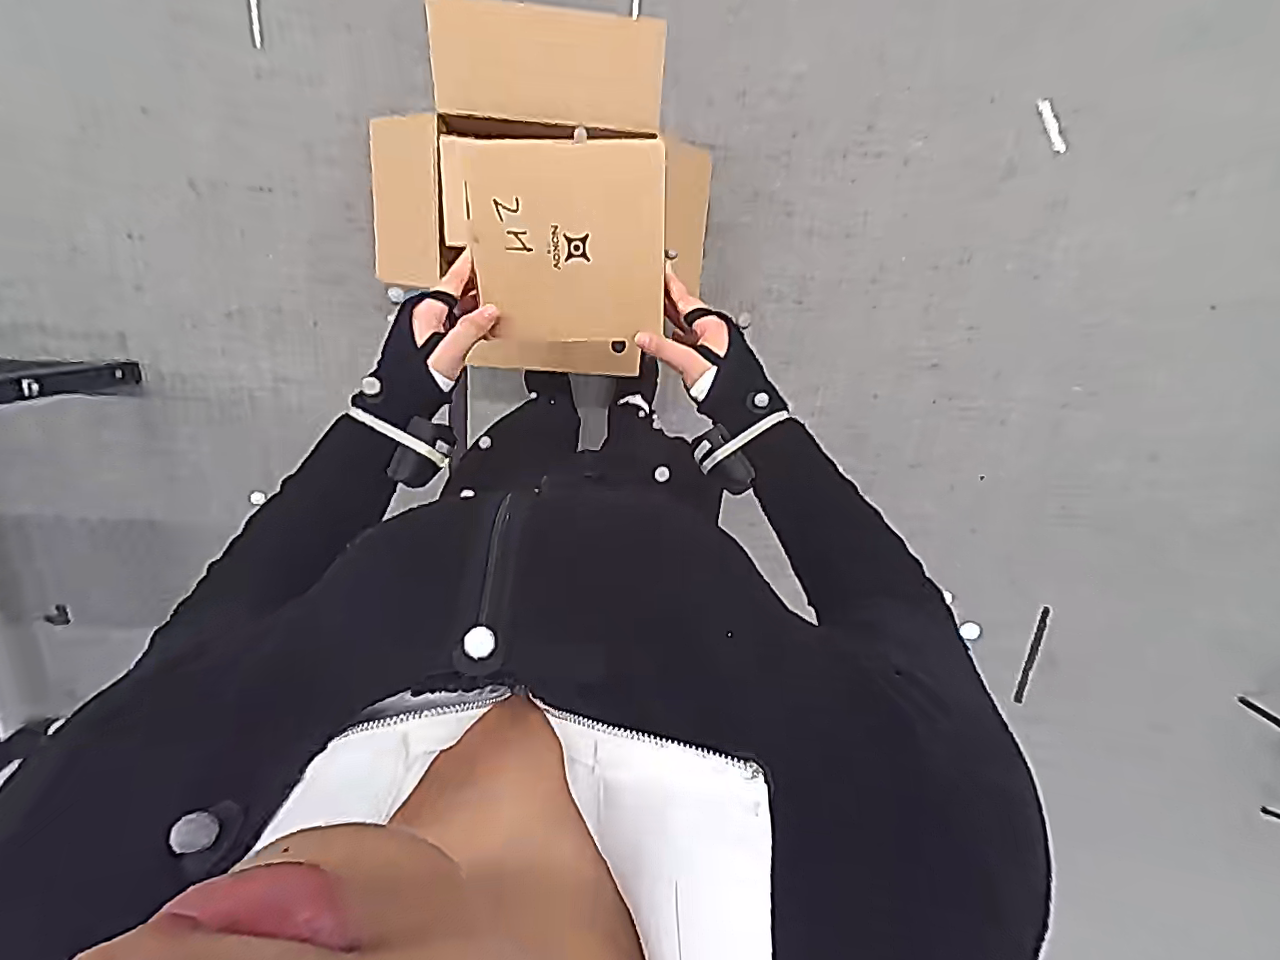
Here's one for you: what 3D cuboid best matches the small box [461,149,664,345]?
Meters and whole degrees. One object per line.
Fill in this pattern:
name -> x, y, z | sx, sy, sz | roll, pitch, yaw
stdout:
small box -> -0.066, -0.238, 0.565 | 0.179, 0.176, 0.168 | 0, 112, 2
